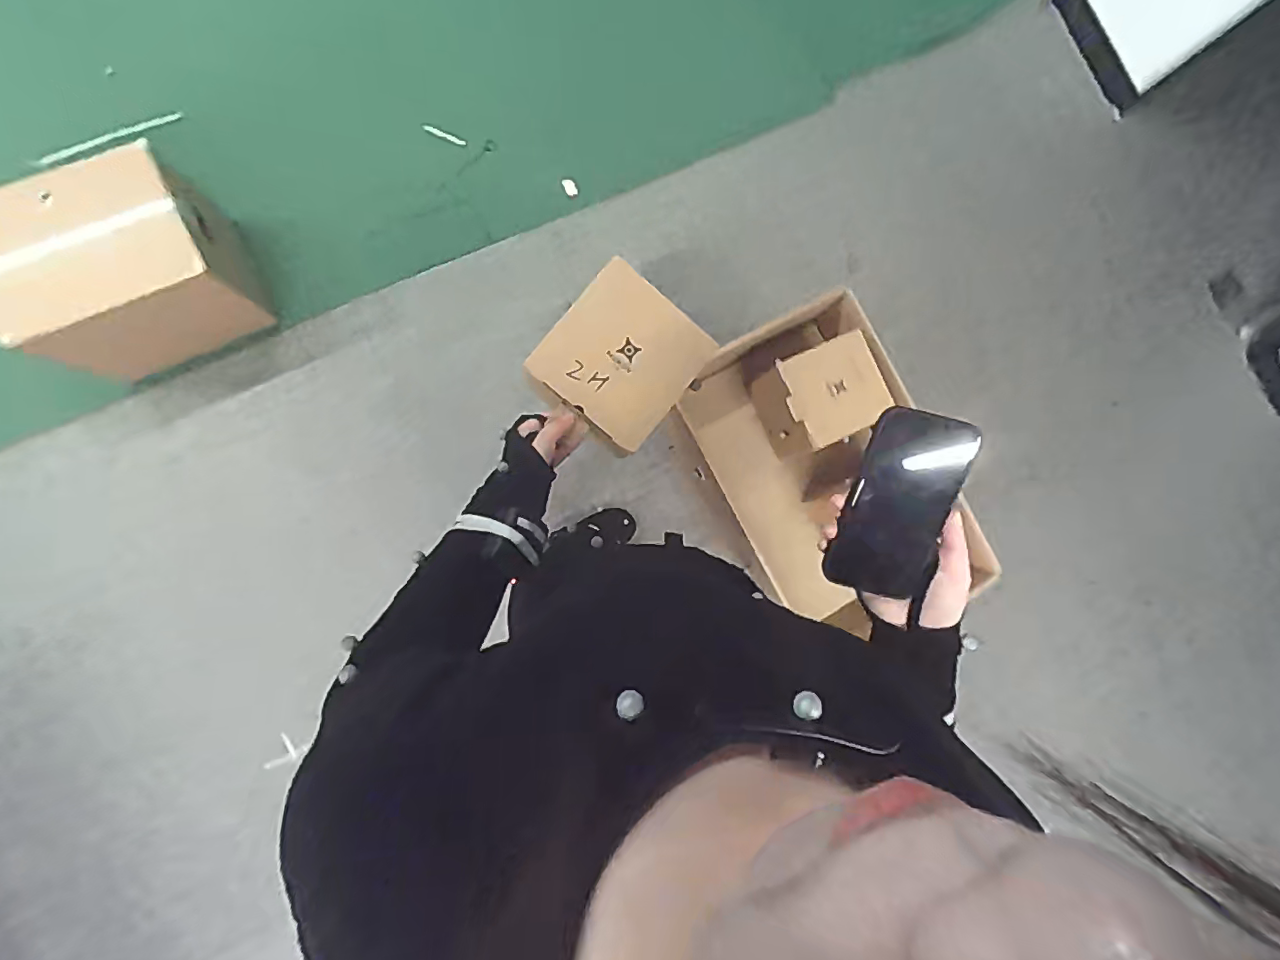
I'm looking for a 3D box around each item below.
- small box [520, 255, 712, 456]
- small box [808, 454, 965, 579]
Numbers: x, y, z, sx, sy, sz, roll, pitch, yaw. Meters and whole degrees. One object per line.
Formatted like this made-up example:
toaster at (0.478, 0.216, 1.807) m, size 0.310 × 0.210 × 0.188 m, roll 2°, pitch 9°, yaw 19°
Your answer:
small box at (-0.038, -0.148, 0.710) m, size 0.168 × 0.176 × 0.179 m, roll 38°, pitch 86°, yaw -7°
small box at (0.453, 0.067, 1.019) m, size 0.179 × 0.176 × 0.168 m, roll -28°, pitch 89°, yaw -7°
